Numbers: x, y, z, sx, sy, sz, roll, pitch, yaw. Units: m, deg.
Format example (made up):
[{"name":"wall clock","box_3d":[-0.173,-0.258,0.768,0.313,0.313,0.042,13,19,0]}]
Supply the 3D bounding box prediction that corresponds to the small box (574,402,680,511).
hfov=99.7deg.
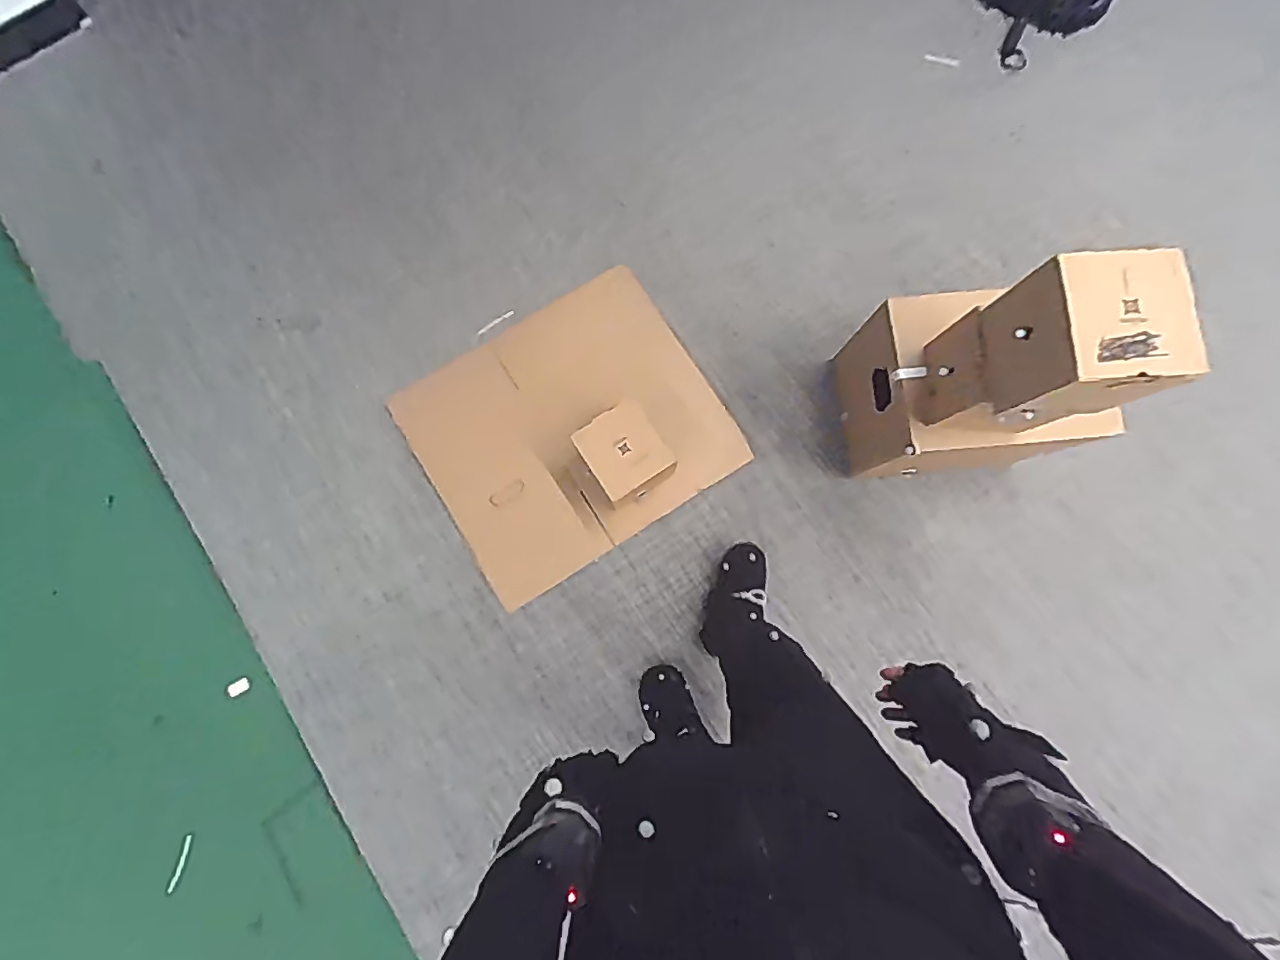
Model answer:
[{"name":"small box","box_3d":[-0.027,-0.044,1.226,0.168,0.176,0.179,-34,82,-3]}]

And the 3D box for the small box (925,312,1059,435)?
[{"name":"small box","box_3d":[0.622,-0.179,0.945,0.179,0.176,0.168,0,79,0]}]

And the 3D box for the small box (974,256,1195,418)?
[{"name":"small box","box_3d":[0.619,-0.192,0.778,0.168,0.176,0.179,-6,82,0]}]
